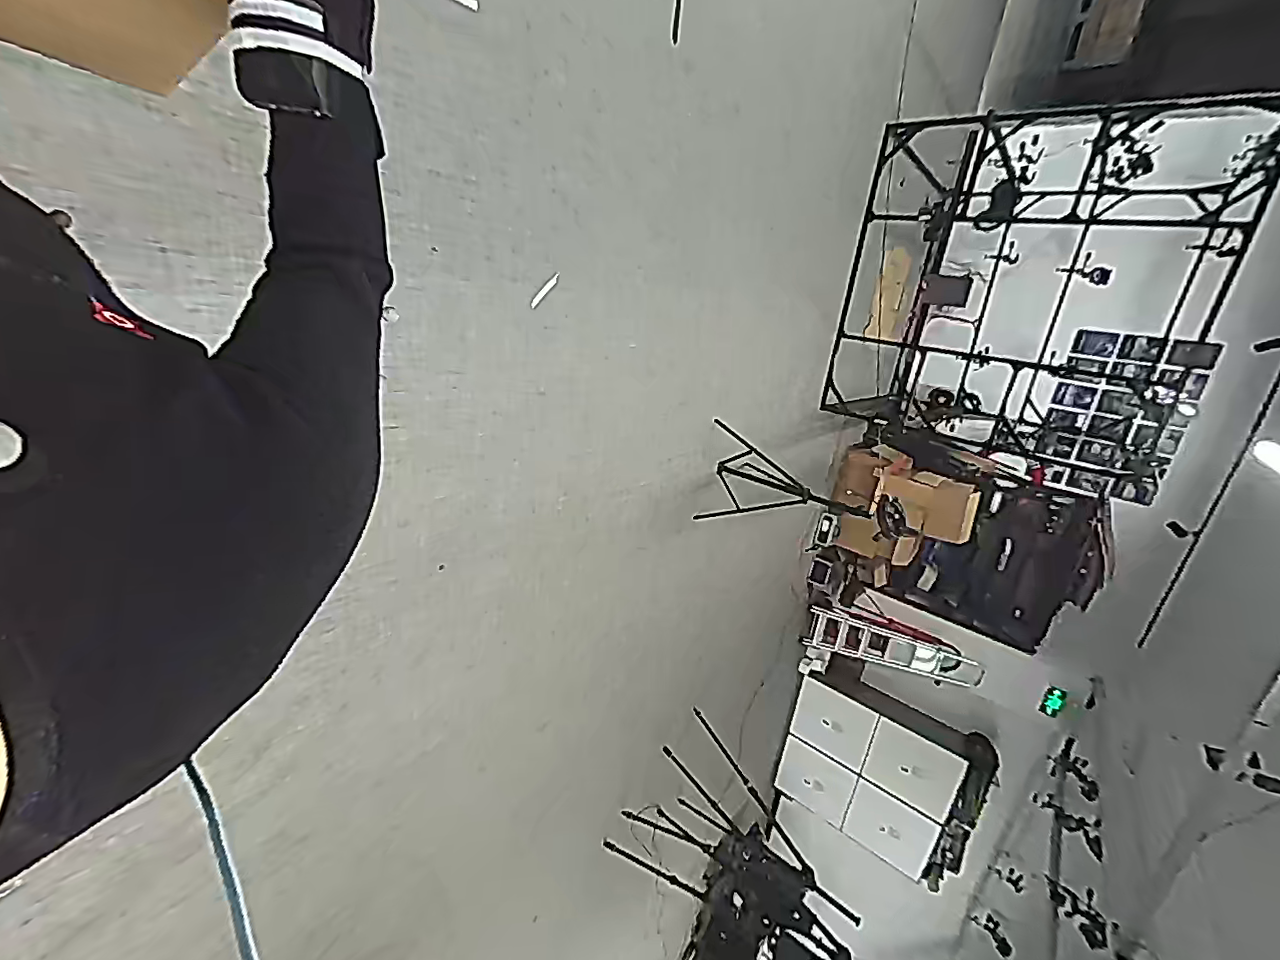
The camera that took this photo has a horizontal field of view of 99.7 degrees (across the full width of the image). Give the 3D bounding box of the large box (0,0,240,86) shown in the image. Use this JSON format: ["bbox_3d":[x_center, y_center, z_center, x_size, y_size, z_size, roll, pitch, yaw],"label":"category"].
[{"bbox_3d":[-0.457,-0.477,0.251,0.408,0.320,0.320,-9,107,-51],"label":"large box"}]
